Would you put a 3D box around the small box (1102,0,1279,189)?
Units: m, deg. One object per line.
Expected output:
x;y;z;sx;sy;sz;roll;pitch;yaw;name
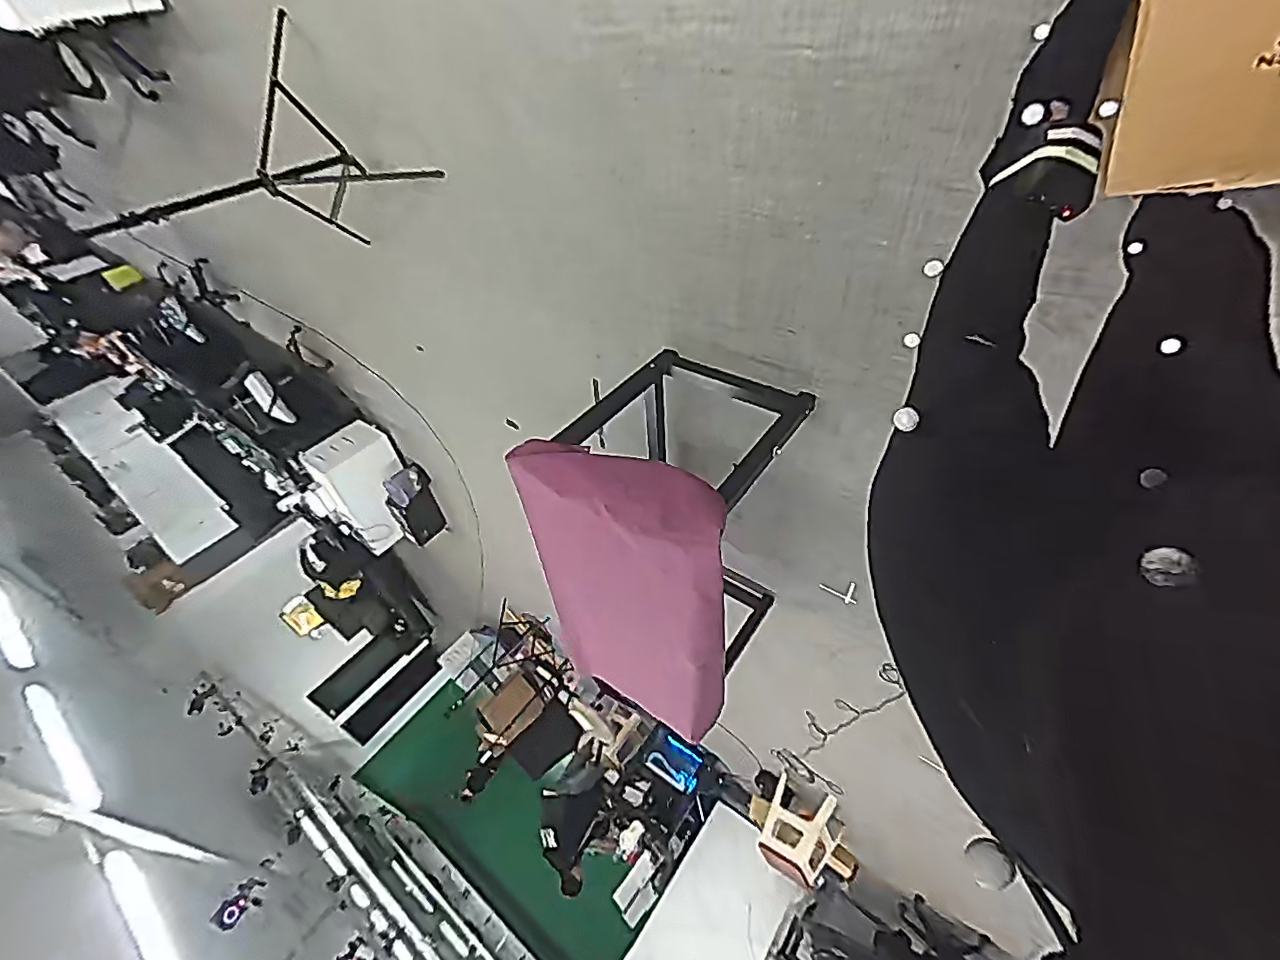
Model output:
0.430;-0.323;0.349;0.168;0.176;0.179;11;138;39;small box
